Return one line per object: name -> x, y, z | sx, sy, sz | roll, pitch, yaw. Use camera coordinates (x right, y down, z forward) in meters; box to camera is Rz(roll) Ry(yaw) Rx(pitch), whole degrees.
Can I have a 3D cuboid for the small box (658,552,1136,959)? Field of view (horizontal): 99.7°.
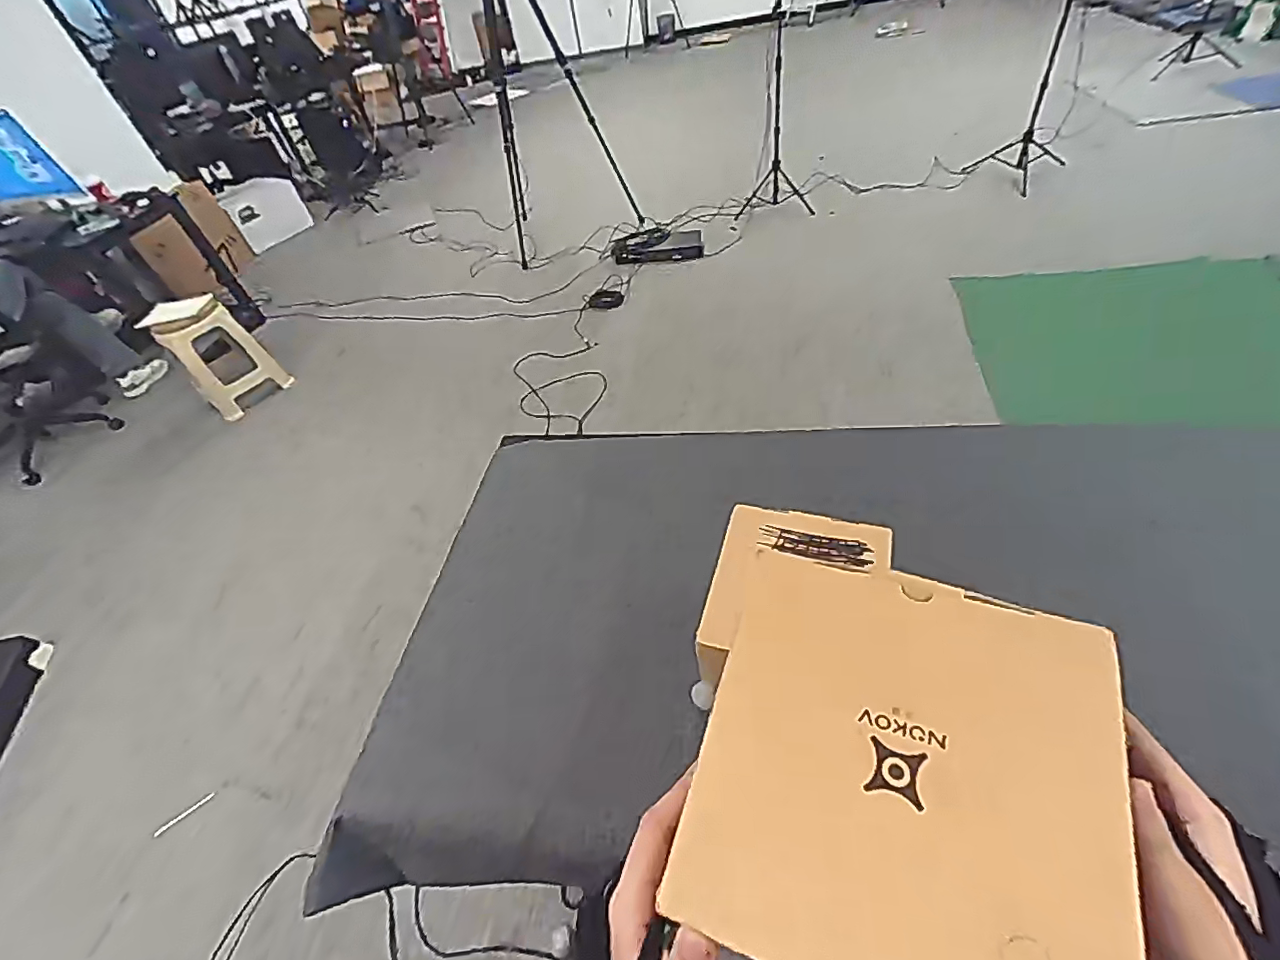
small box -> 0.125, 0.170, 0.297 | 0.168, 0.176, 0.179 | 12, 57, 20
